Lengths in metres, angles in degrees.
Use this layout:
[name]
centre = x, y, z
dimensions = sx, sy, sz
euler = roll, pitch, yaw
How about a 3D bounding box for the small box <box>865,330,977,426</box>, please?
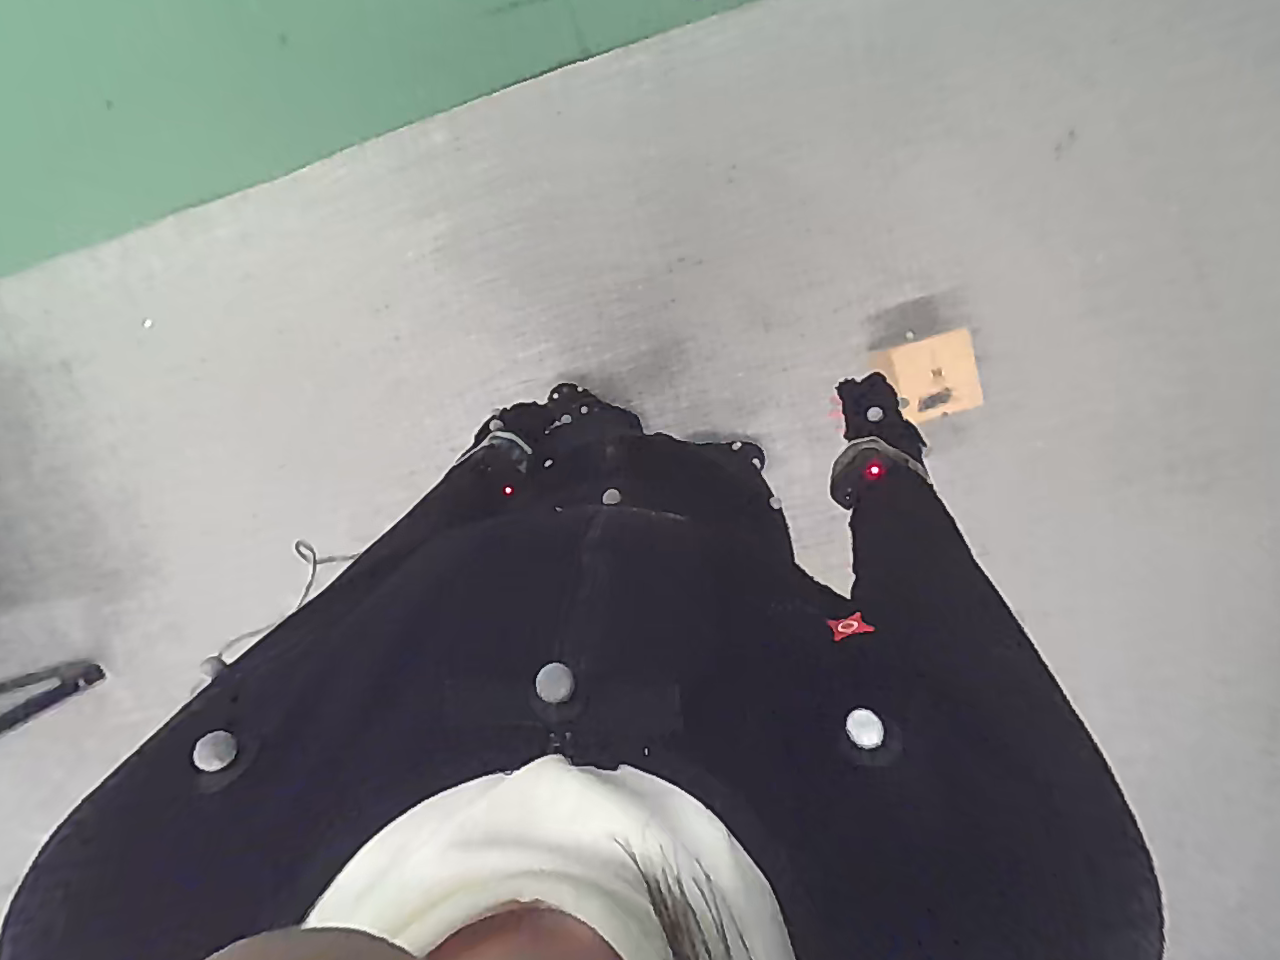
[small box]
centre = 0.643, -0.236, 1.253
dimensions = 0.168, 0.176, 0.179
euler = -15, 99, 8
